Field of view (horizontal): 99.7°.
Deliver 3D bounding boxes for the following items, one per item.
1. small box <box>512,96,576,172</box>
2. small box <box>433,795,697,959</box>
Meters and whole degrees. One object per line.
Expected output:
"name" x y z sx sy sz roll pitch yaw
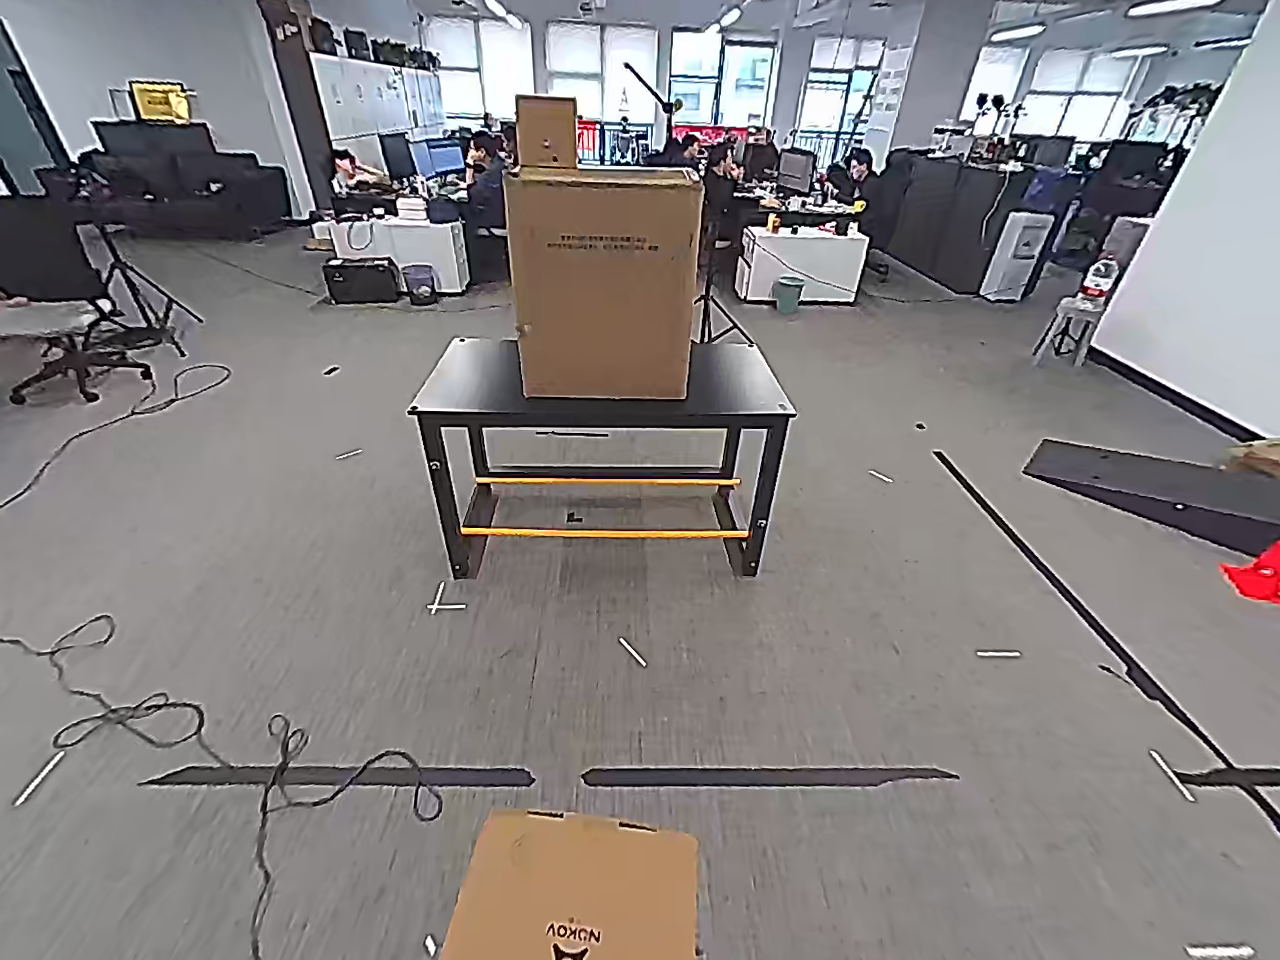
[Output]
"small box" -0.271 -0.998 1.564 0.168 0.176 0.179 -1 33 -5
"small box" -0.051 0.368 0.389 0.168 0.176 0.179 5 32 4
